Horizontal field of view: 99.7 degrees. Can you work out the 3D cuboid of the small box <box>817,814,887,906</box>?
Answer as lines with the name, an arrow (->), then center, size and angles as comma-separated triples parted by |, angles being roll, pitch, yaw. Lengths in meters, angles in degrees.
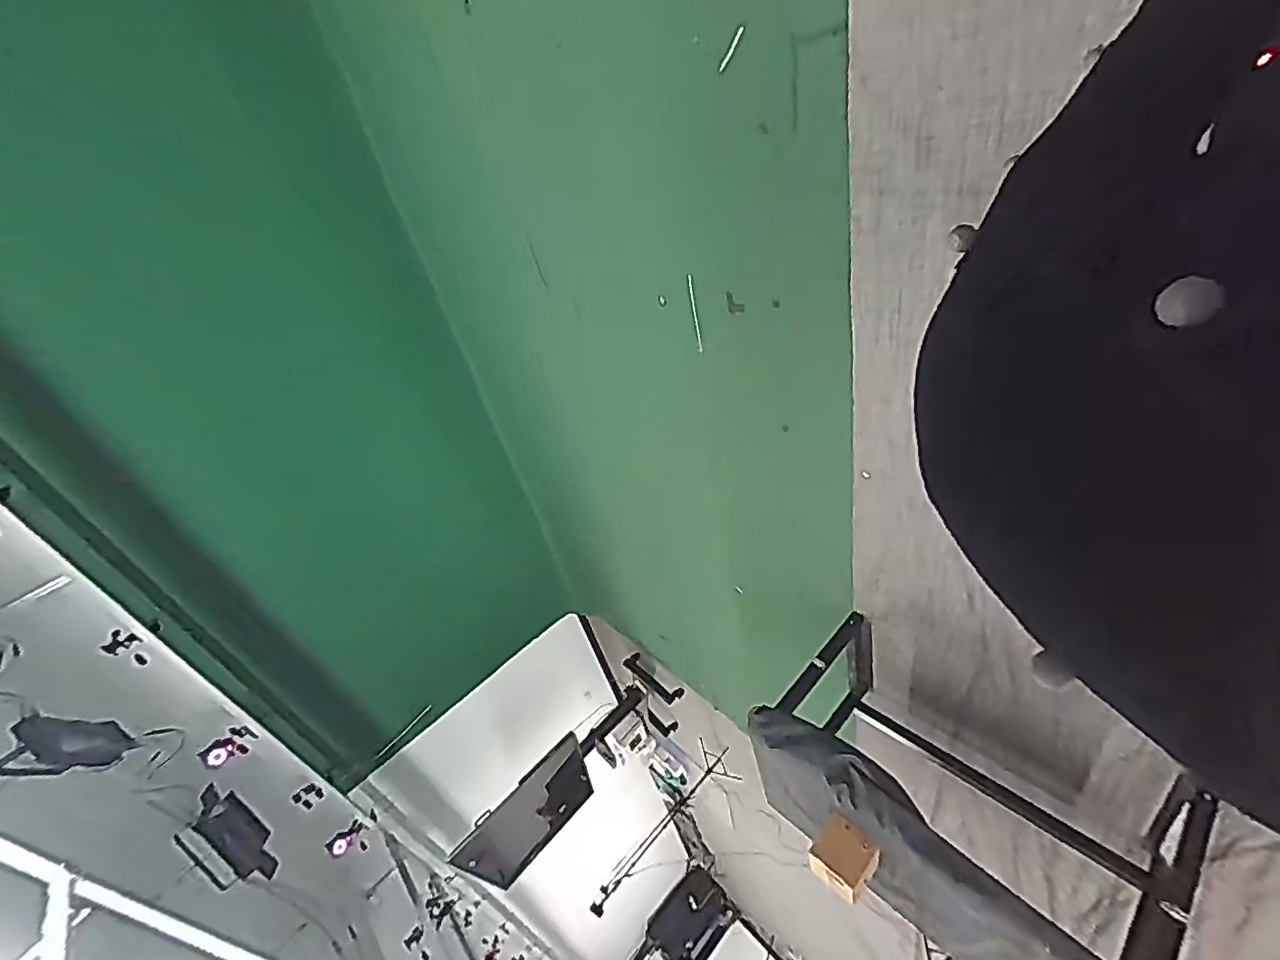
small box -> 0.724, 1.287, 1.843 | 0.168, 0.176, 0.179 | 24, 142, 43
